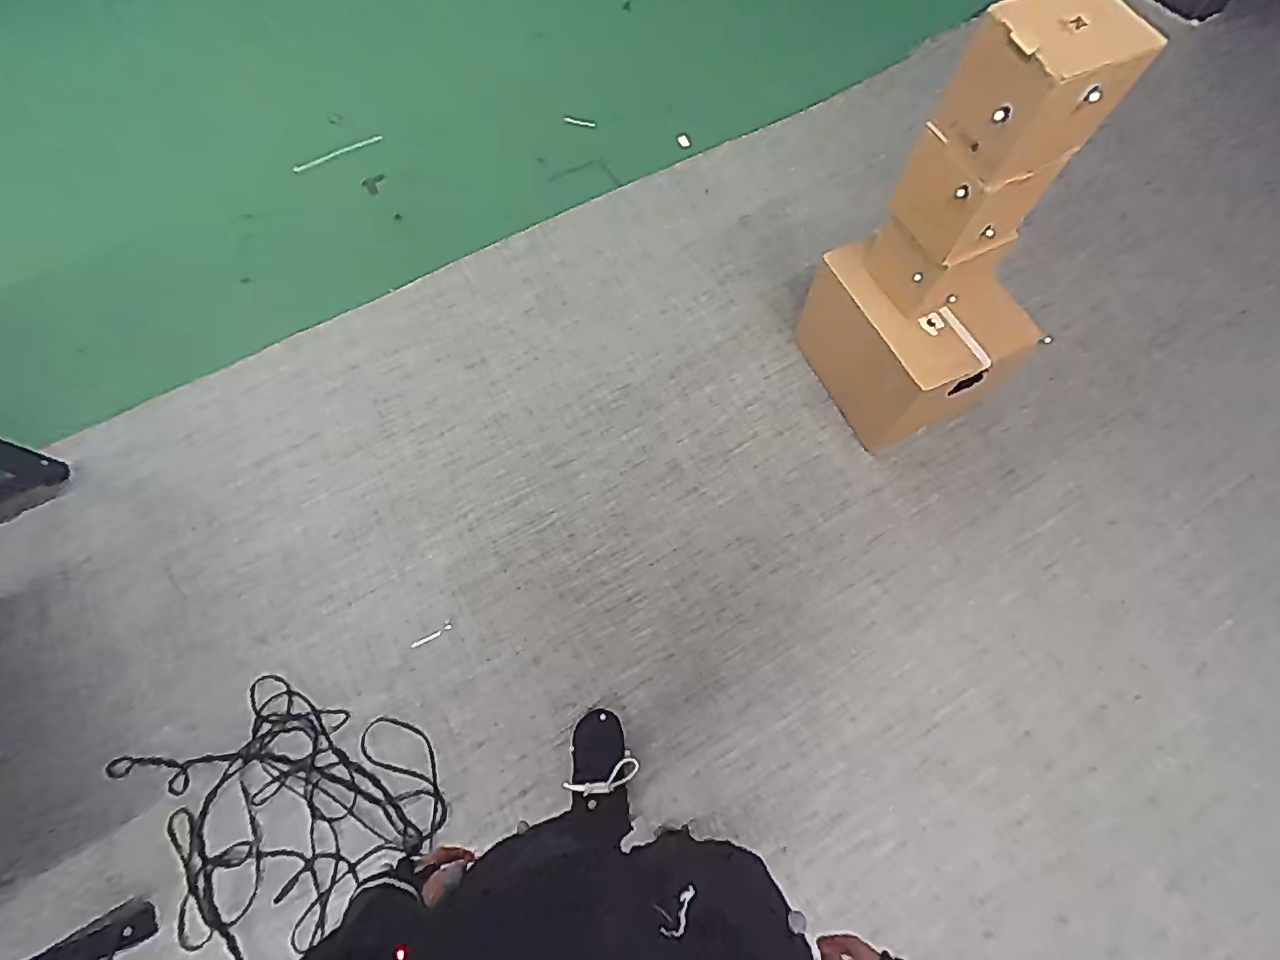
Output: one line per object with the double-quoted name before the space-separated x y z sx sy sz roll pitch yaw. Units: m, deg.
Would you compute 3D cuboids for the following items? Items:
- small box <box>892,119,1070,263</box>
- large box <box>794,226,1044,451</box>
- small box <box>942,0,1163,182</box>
"small box" 0.592 -0.530 0.969 0.168 0.176 0.179 -25 71 -8
"large box" 0.642 -0.347 1.333 0.320 0.320 0.408 -24 71 -6
"small box" 0.597 -0.592 0.818 0.179 0.176 0.168 -22 72 -8
